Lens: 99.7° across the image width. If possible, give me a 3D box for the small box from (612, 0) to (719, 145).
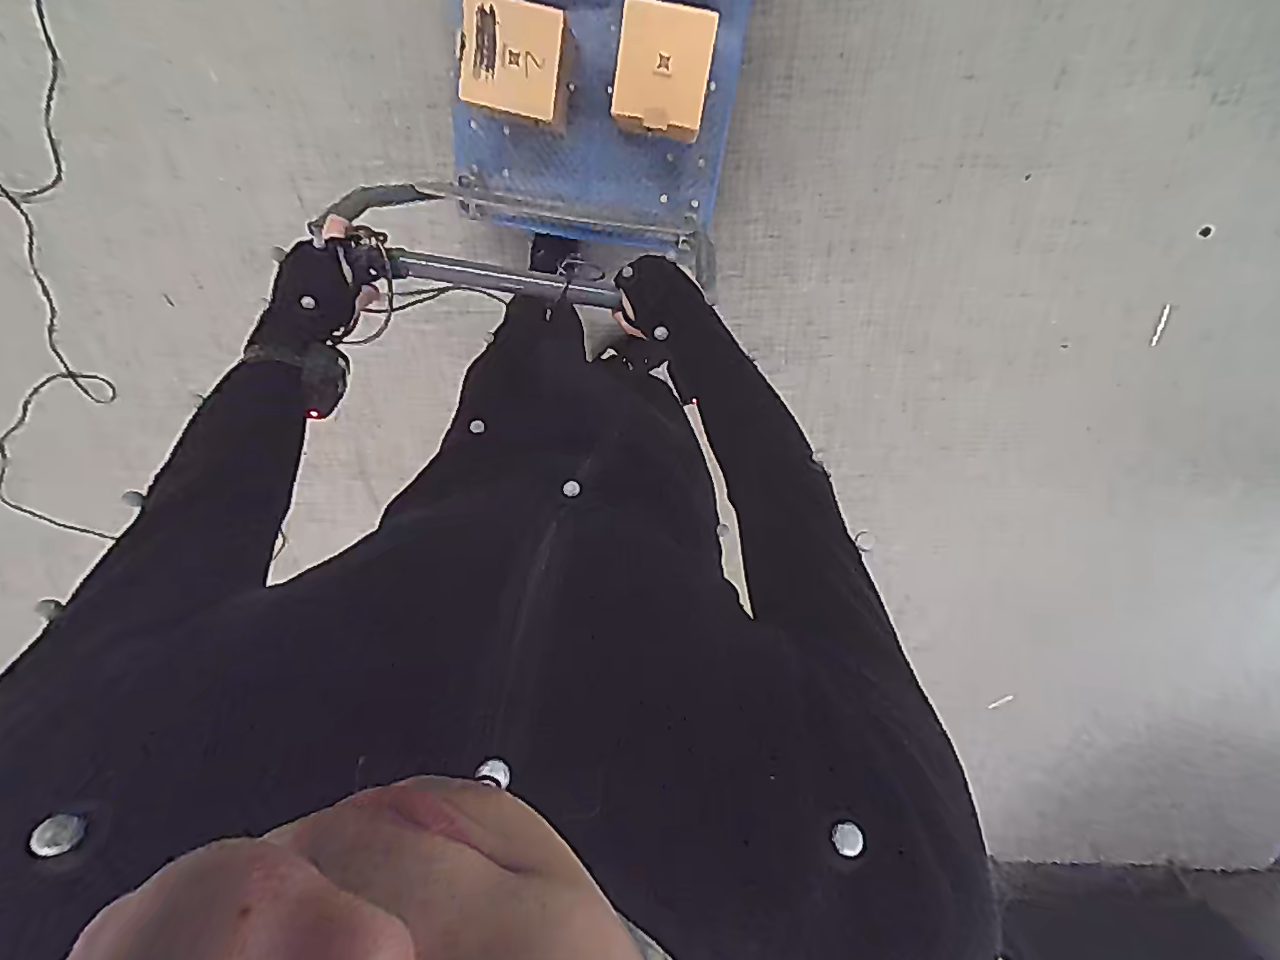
[{"bbox_3d":[0.044,-0.761,1.029,0.168,0.176,0.179,9,117,-2],"label":"small box"}]
